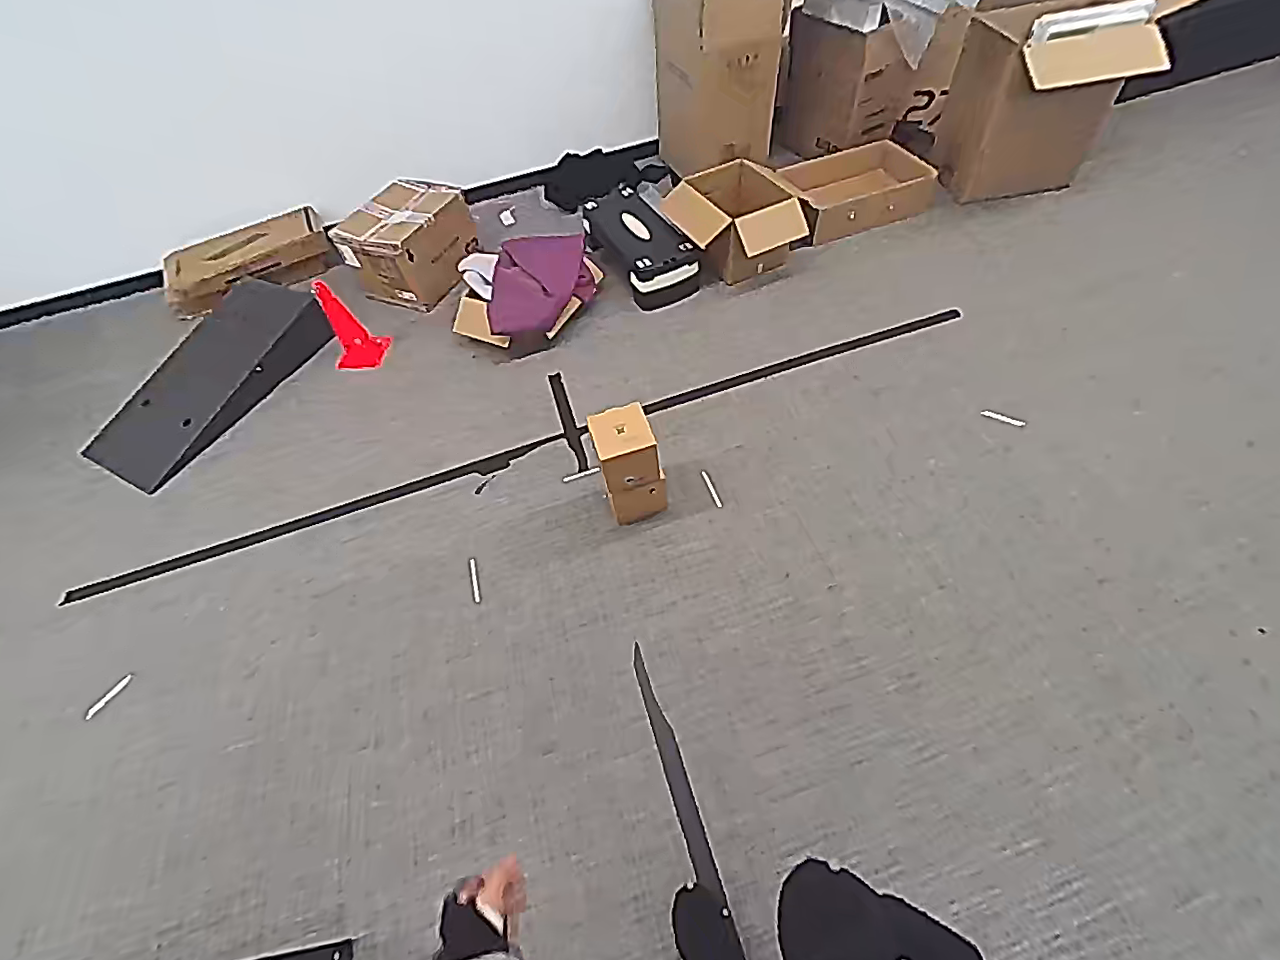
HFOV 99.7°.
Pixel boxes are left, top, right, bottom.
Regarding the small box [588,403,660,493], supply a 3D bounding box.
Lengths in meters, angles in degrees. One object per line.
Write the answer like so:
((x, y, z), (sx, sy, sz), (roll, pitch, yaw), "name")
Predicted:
((-0.046, -0.092, 1.597), (0.168, 0.176, 0.179), (-18, 56, -5), "small box")

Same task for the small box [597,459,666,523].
((-0.023, 0.009, 1.723), (0.179, 0.176, 0.168), (-18, 55, -7), "small box")
